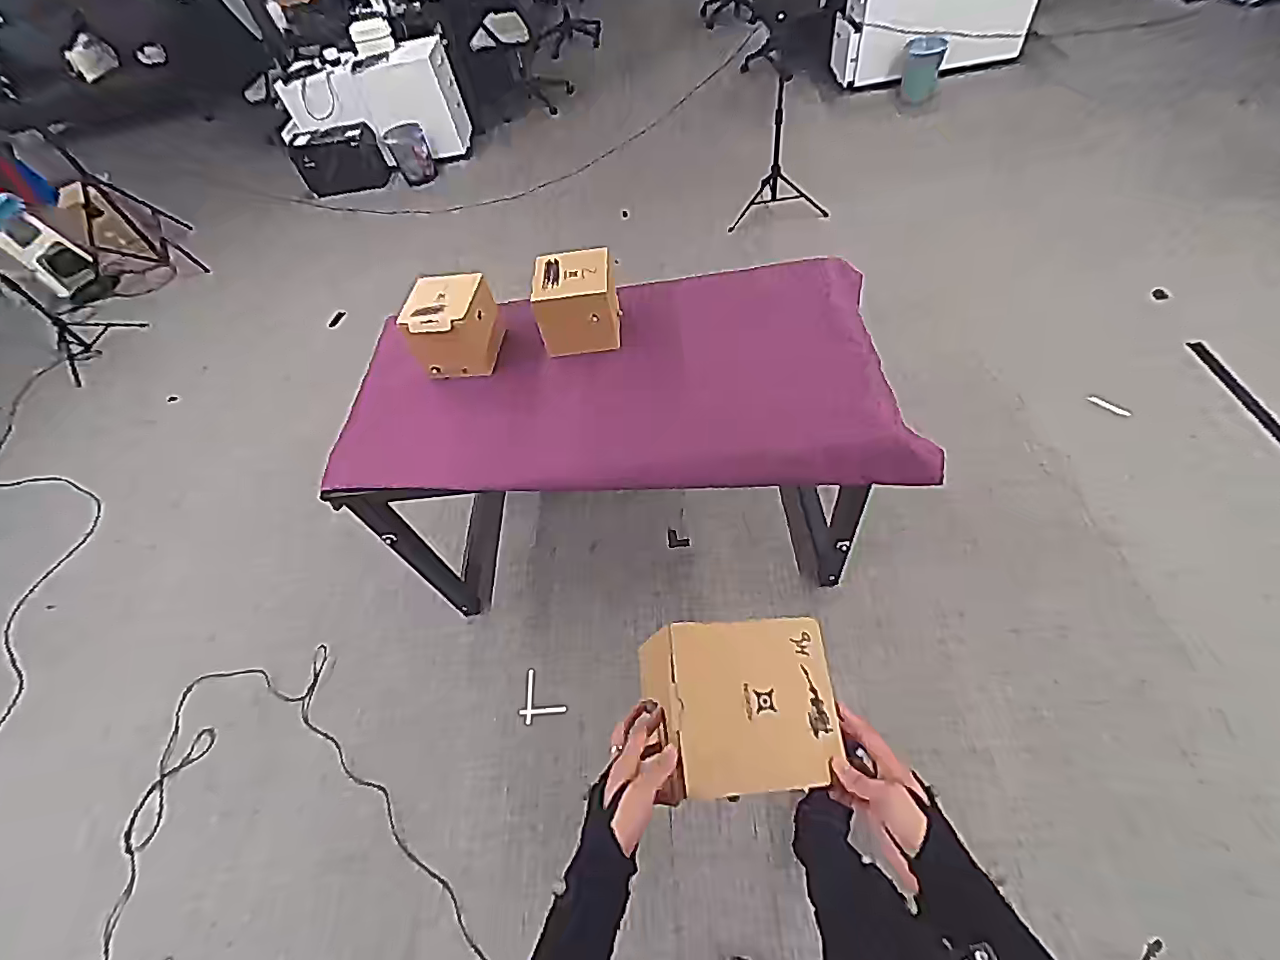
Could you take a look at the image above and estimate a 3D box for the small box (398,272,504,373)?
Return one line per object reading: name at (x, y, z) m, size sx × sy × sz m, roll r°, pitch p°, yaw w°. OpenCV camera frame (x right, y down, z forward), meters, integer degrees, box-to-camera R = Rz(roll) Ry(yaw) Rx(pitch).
small box at (-0.443, -0.372, 1.301) m, size 0.168 × 0.176 × 0.179 m, roll -1°, pitch 55°, yaw 9°
